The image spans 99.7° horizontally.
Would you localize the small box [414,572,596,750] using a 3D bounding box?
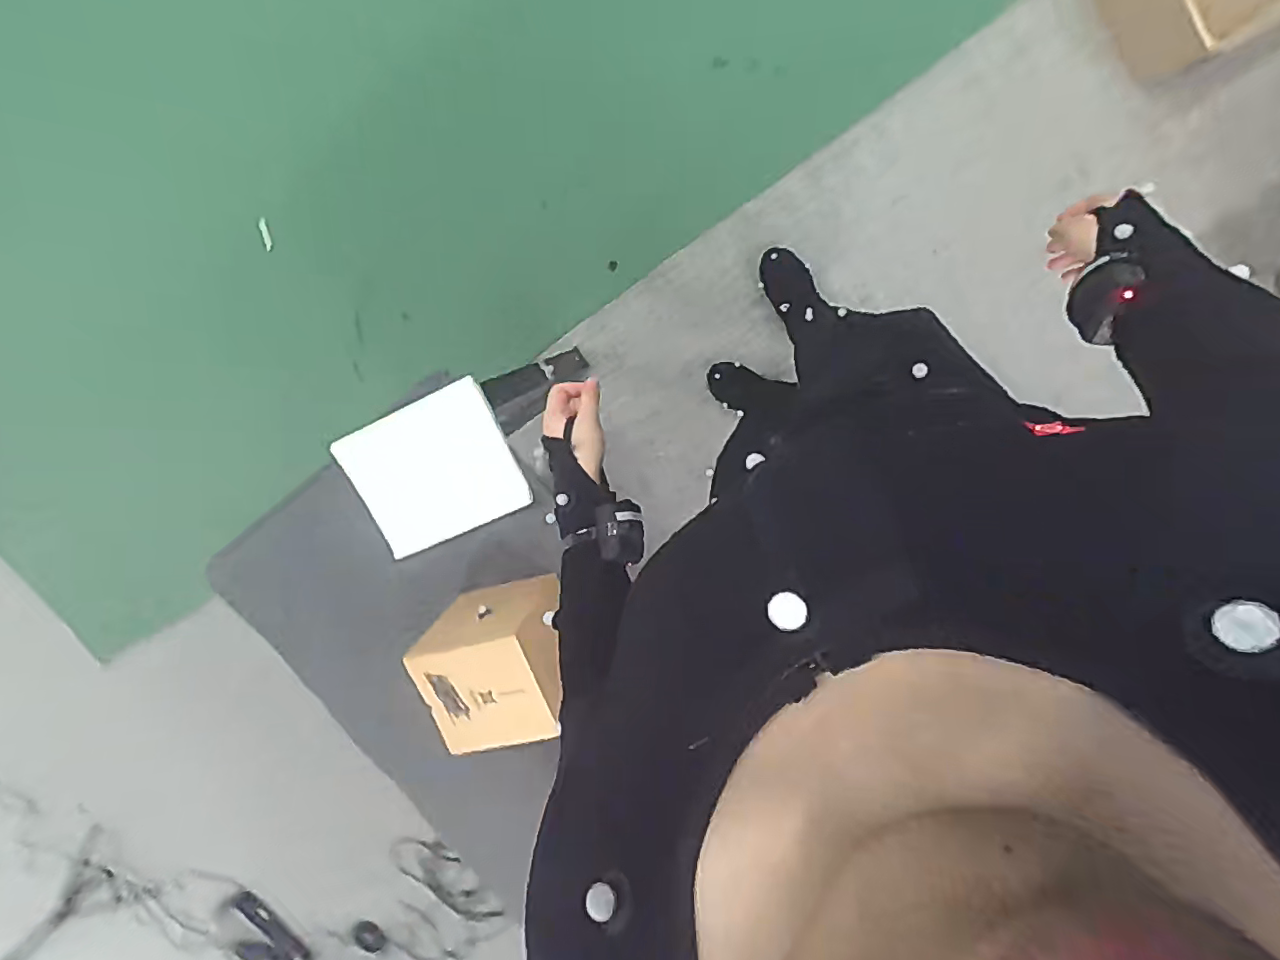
[{"bbox_3d":[-0.186,0.260,0.796,0.179,0.176,0.168,-17,106,14],"label":"small box"}]
